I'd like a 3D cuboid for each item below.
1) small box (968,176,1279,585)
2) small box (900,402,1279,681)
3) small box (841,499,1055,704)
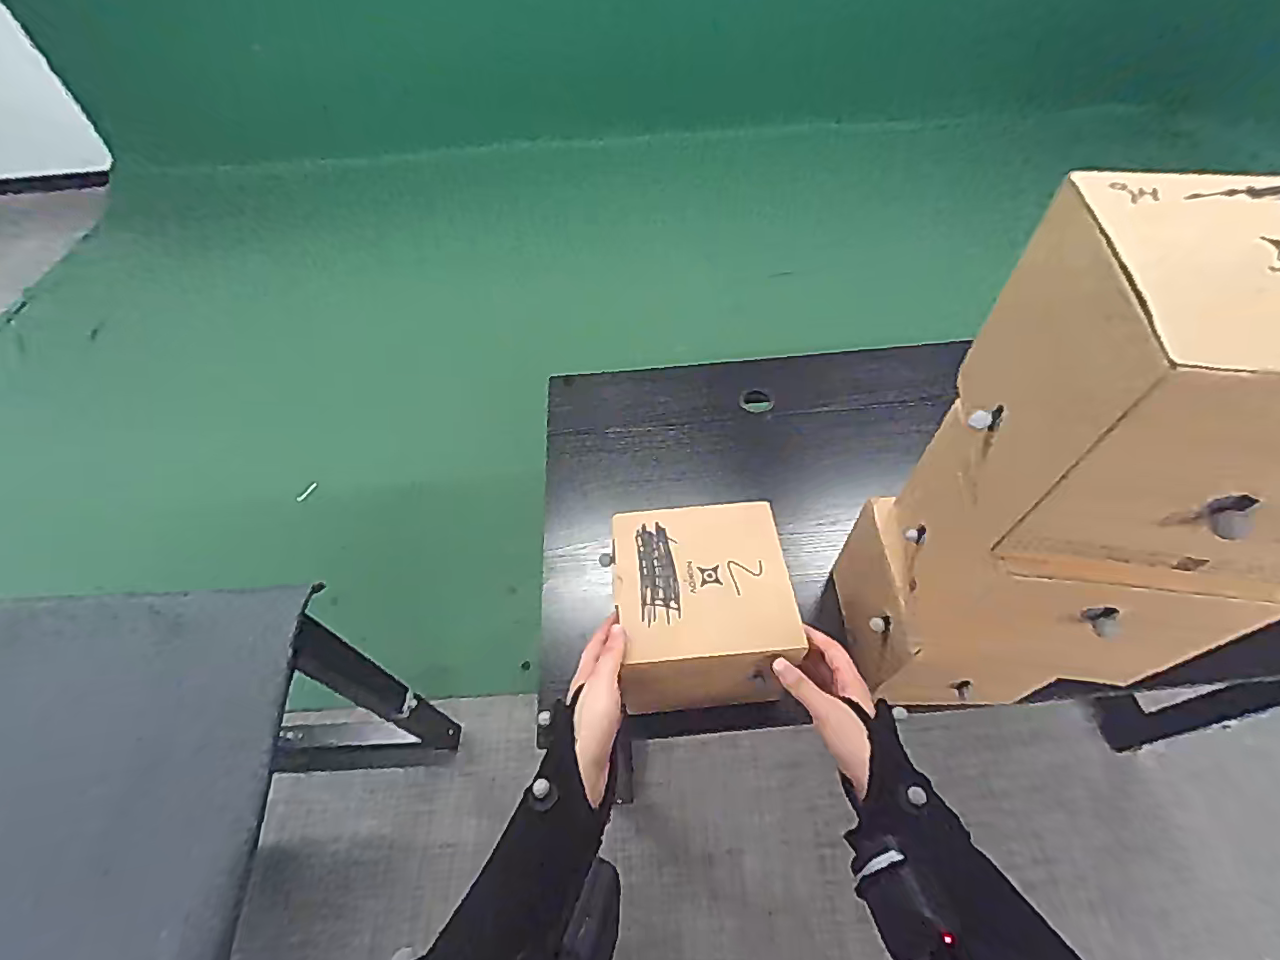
[{"bbox_3d":[0.326,-0.055,0.325,0.168,0.176,0.179,7,55,10],"label":"small box"},{"bbox_3d":[0.341,0.055,0.446,0.179,0.176,0.168,5,54,7],"label":"small box"},{"bbox_3d":[0.335,0.136,0.588,0.168,0.176,0.179,-1,53,2],"label":"small box"}]
